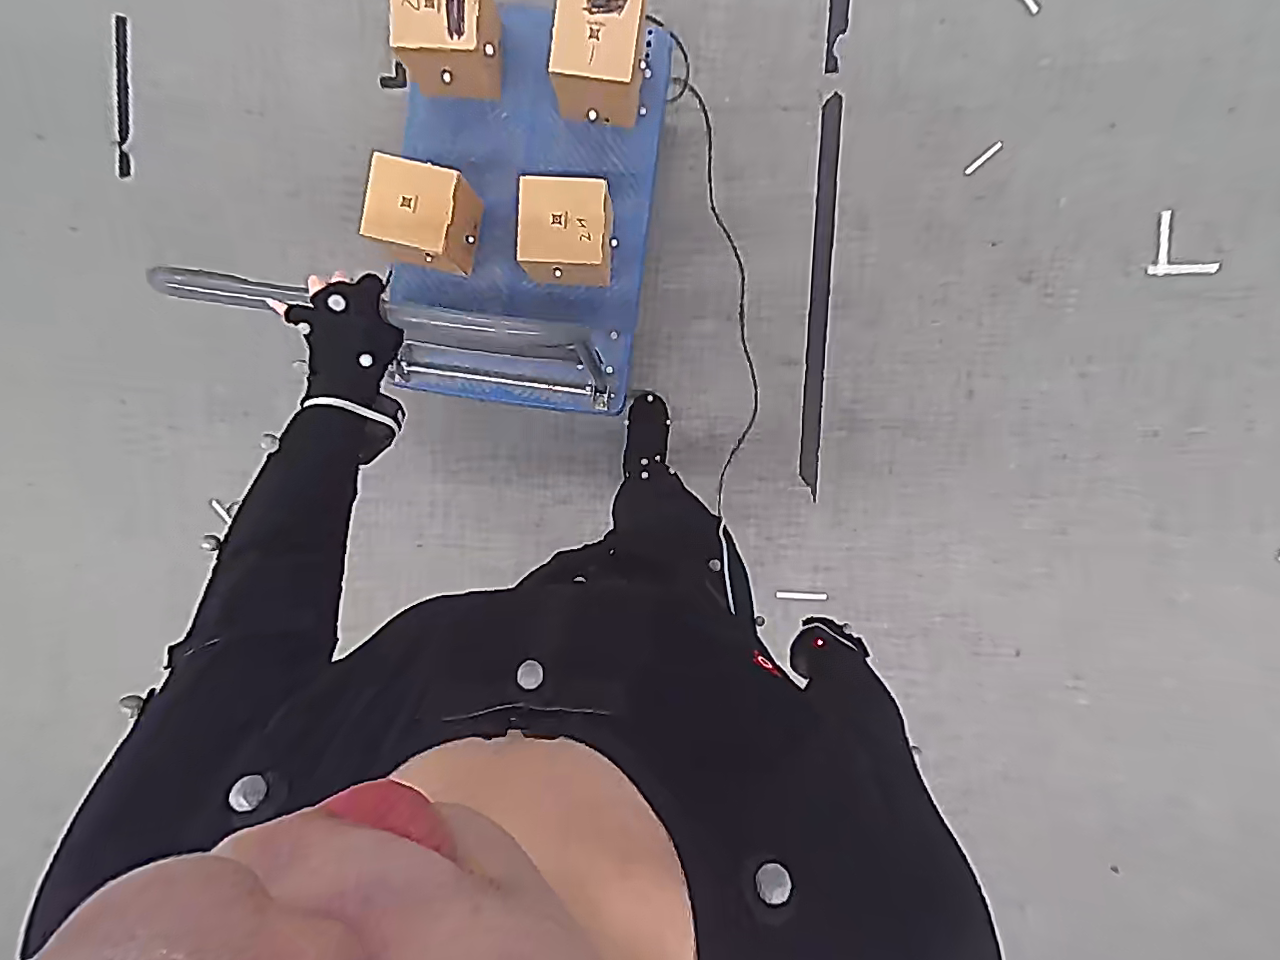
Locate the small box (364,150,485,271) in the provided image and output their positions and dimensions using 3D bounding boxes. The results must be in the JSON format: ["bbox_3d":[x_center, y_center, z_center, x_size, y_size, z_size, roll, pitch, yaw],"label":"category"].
[{"bbox_3d":[-0.454,-0.567,1.161,0.179,0.176,0.168,12,95,-1],"label":"small box"}]

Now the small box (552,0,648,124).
[{"bbox_3d":[-0.076,-0.882,1.118,0.168,0.176,0.179,9,97,1],"label":"small box"}]

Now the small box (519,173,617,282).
[{"bbox_3d":[-0.148,-0.530,1.154,0.179,0.176,0.168,4,96,2],"label":"small box"}]
